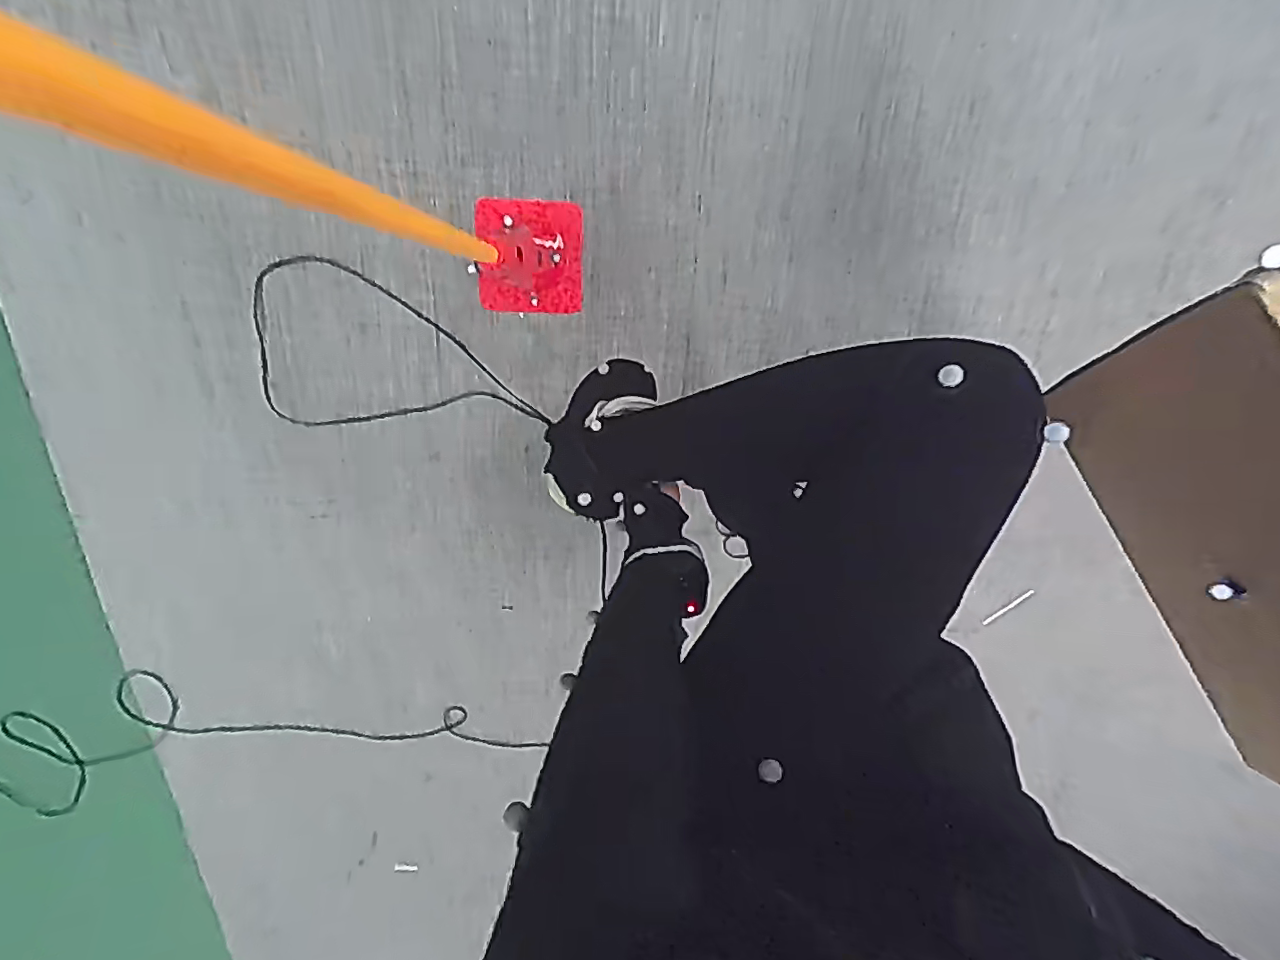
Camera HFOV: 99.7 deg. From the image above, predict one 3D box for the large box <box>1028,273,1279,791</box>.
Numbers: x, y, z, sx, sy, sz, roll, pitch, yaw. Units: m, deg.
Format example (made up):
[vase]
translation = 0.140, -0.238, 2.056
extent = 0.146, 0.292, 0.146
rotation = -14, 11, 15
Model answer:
[large box]
translation = 0.587, 0.029, 0.389
extent = 0.320, 0.320, 0.408
rotation = -24, 78, 14
